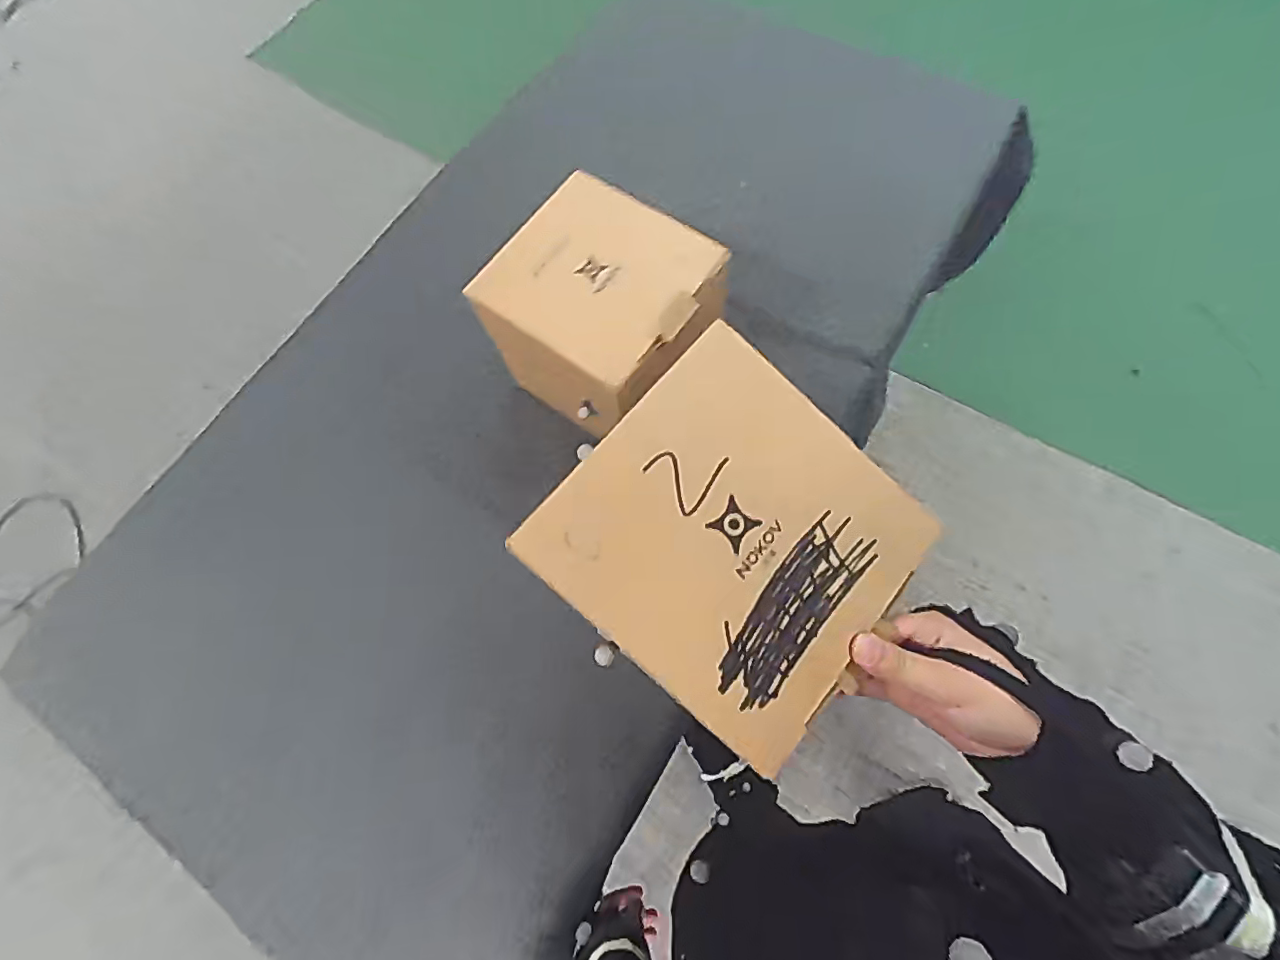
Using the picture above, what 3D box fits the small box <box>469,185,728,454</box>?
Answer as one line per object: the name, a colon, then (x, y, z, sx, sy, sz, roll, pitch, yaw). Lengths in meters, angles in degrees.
small box: (-0.030, -0.147, 0.550, 0.179, 0.176, 0.168, 33, 77, 16)
